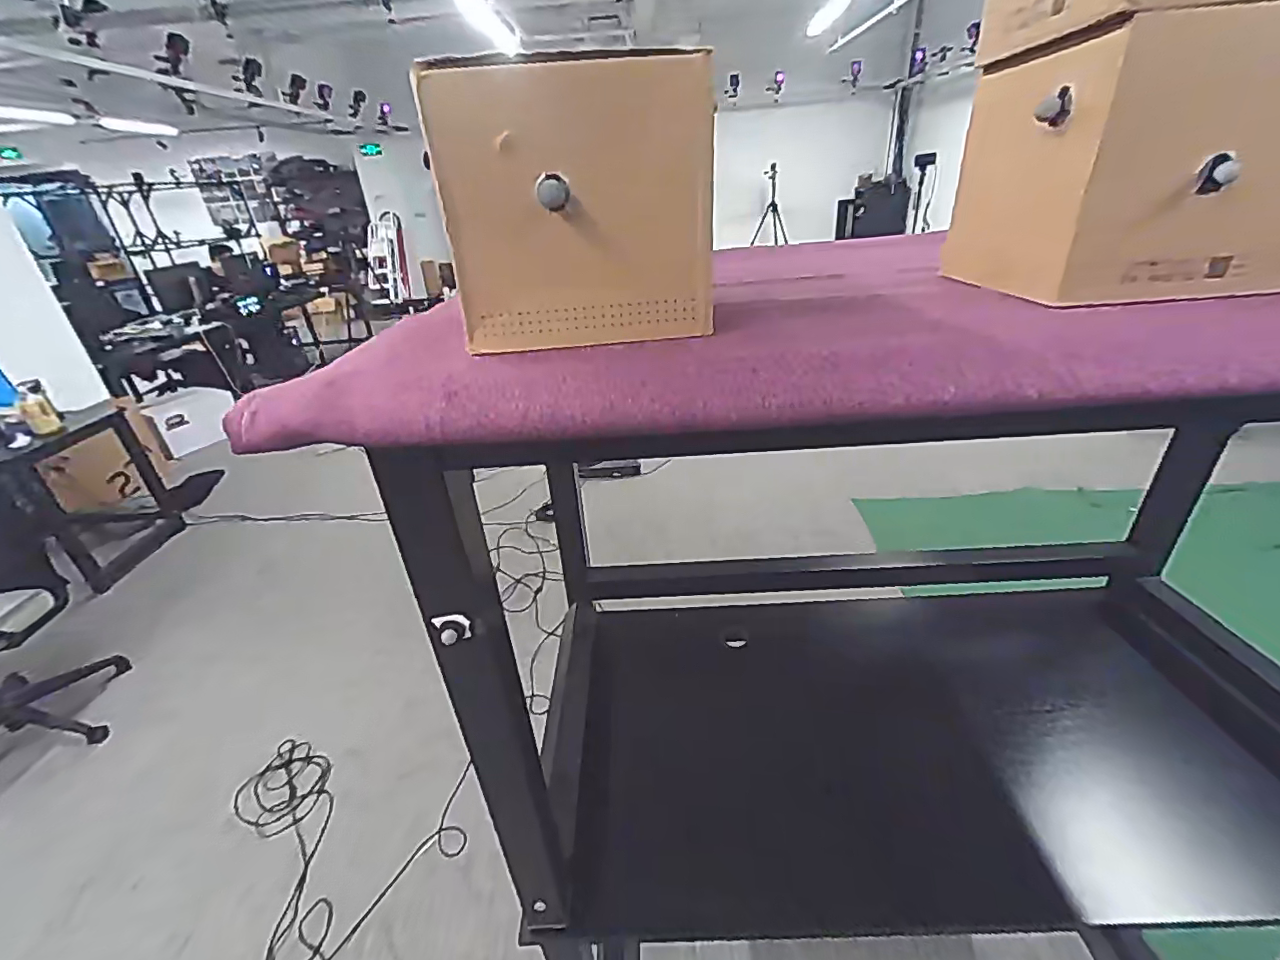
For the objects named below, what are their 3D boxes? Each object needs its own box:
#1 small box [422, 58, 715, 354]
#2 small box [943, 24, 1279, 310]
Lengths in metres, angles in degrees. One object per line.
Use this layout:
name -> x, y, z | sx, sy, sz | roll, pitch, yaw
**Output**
small box -> -0.041, -0.203, 0.422 | 0.179, 0.176, 0.168 | -5, 30, -3
small box -> 0.374, -0.233, 0.428 | 0.168, 0.176, 0.179 | -2, 28, 2
